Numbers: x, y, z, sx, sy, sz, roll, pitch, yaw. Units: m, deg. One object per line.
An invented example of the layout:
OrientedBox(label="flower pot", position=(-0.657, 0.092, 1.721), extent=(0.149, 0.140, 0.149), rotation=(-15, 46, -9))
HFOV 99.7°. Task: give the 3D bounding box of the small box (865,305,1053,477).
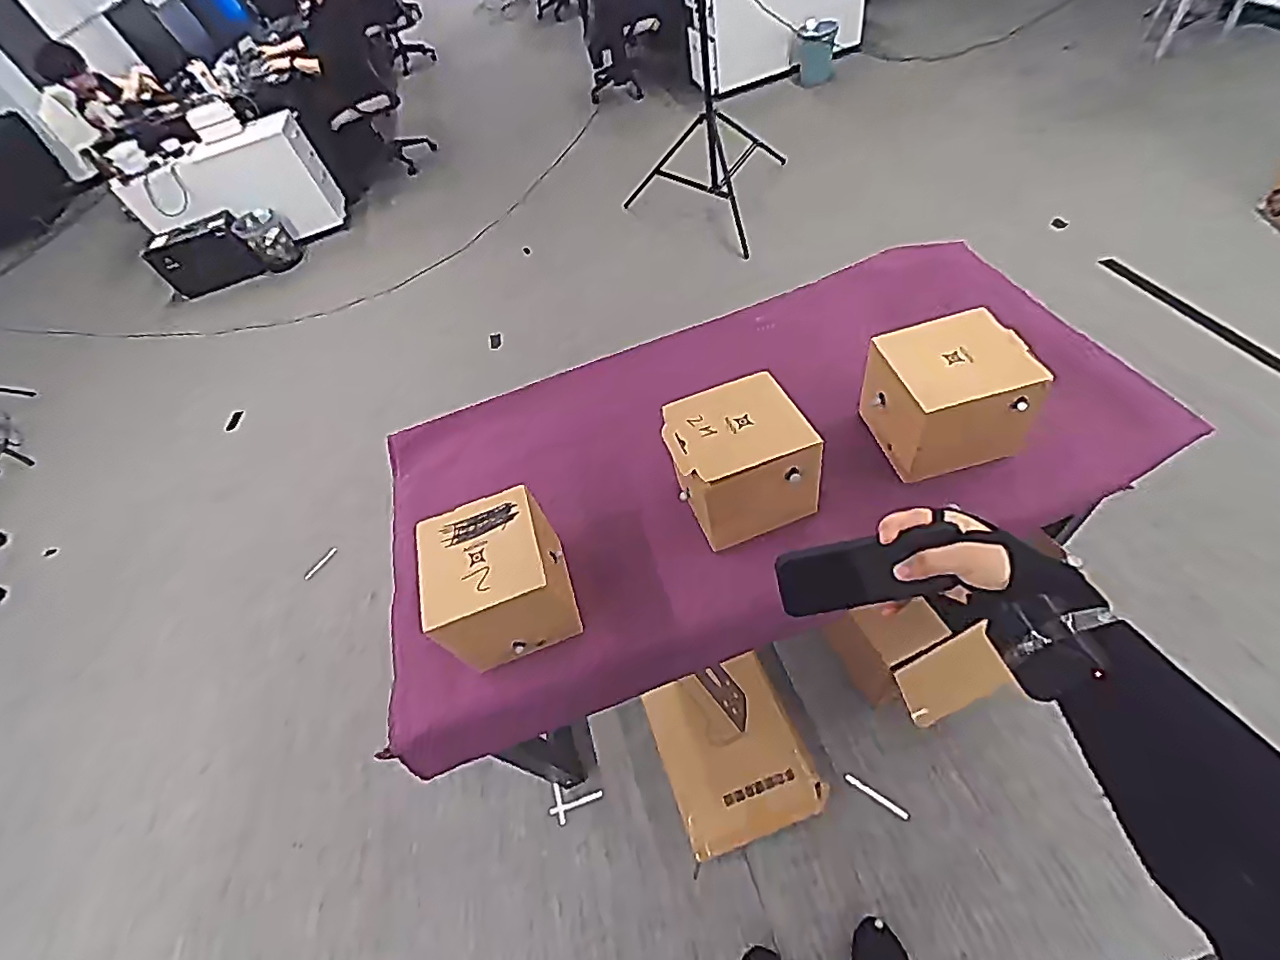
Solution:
OrientedBox(label="small box", position=(0.458, -0.127, 0.817), extent=(0.179, 0.176, 0.168), rotation=(-16, 52, 2))

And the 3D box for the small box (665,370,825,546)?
OrientedBox(label="small box", position=(0.155, -0.029, 0.817), extent=(0.179, 0.176, 0.168), rotation=(-22, 50, -2))
